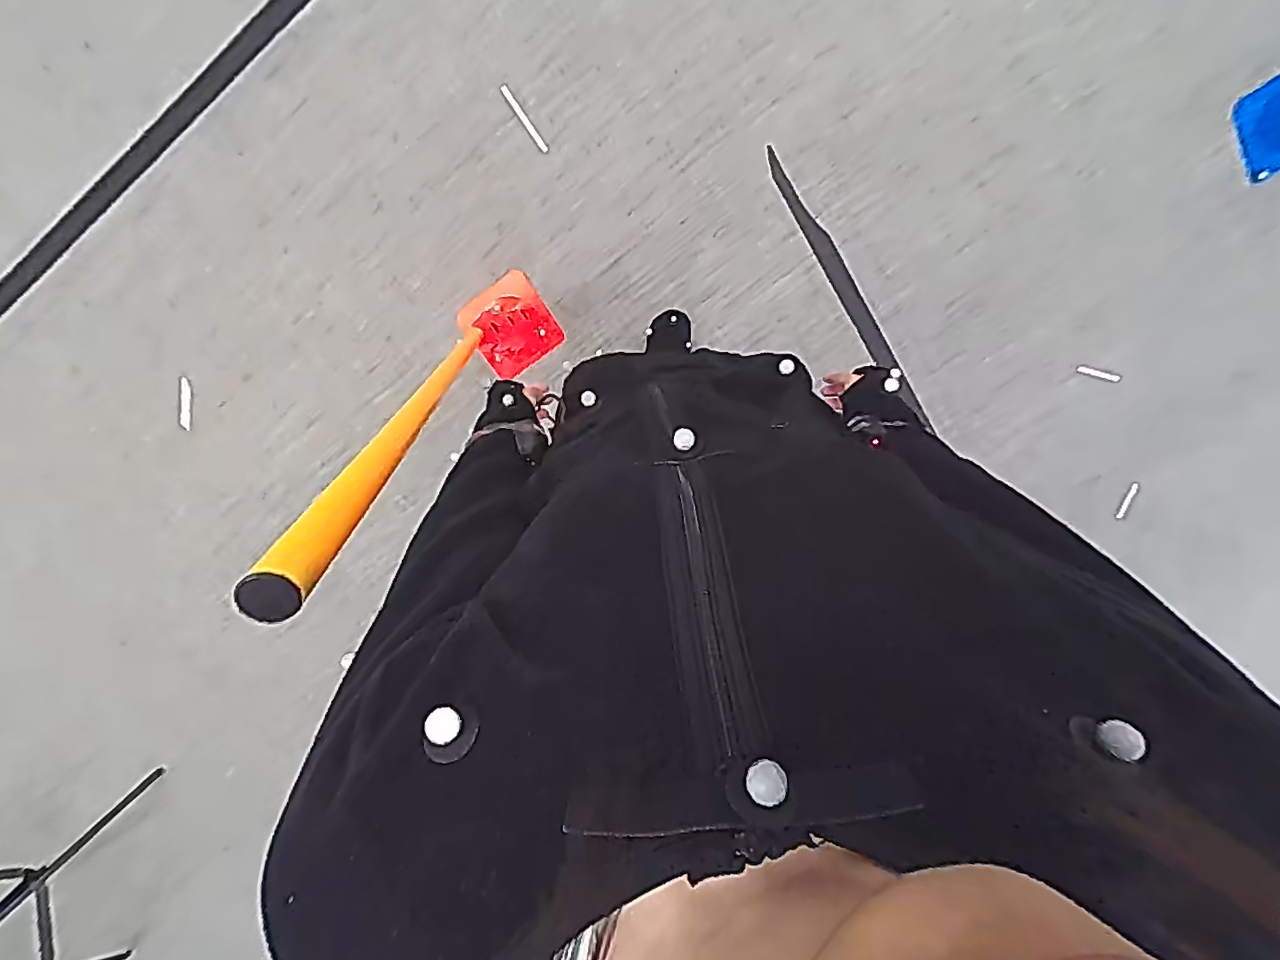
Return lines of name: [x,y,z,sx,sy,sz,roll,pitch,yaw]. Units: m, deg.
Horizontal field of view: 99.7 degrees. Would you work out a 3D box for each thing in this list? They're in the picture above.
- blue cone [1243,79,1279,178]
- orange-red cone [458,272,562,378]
blue cone: [1.482,-0.769,1.073,0.193,0.380,0.192,-31,107,9]
orange-red cone: [-0.308,-0.317,1.141,0.198,0.360,0.199,-32,106,8]
